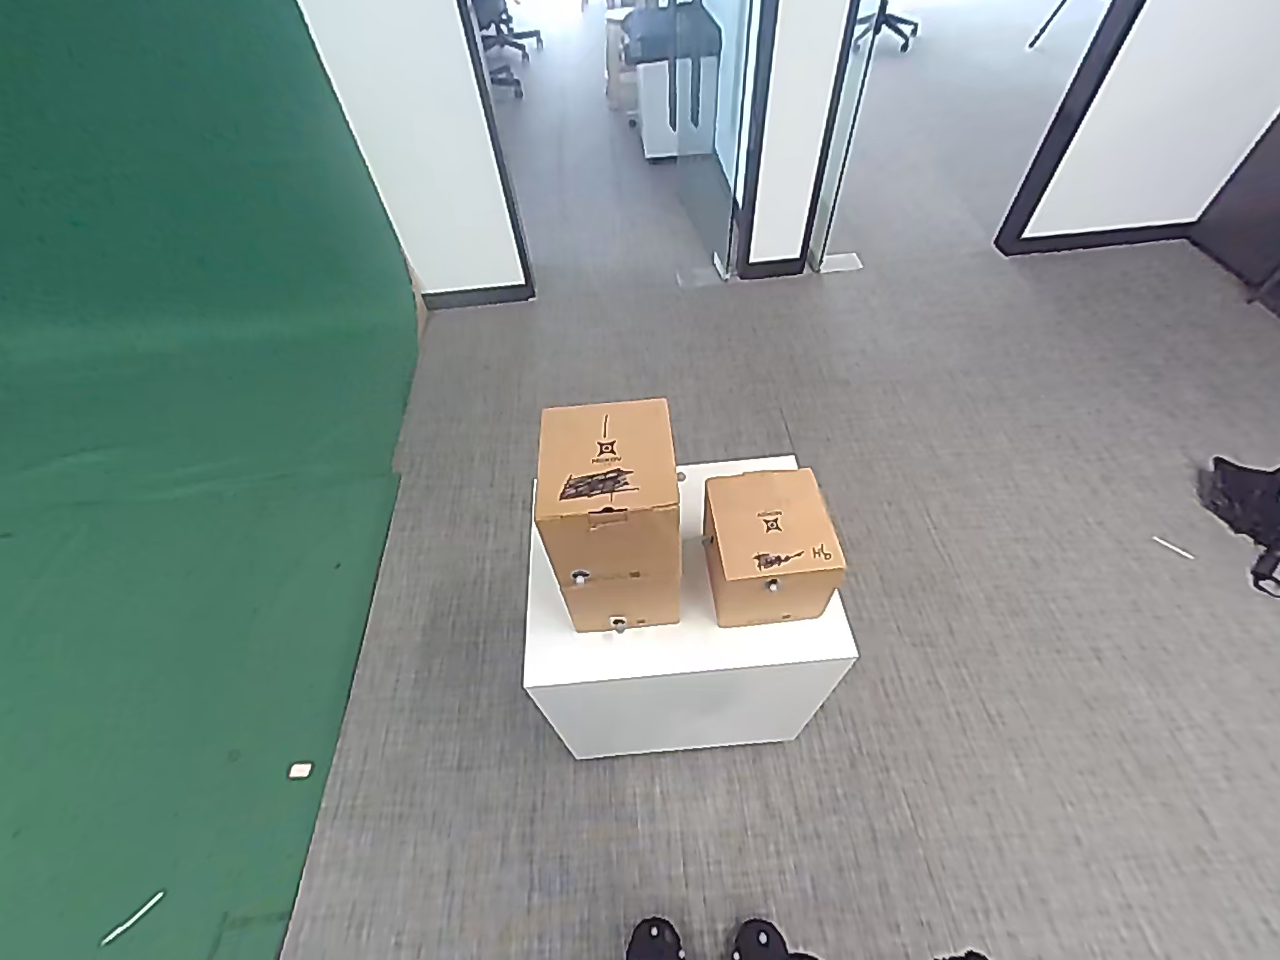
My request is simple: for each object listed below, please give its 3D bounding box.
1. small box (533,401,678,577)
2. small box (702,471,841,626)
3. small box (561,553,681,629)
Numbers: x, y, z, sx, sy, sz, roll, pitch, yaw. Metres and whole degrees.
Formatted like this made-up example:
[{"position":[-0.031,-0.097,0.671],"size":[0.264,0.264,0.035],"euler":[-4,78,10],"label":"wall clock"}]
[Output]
[{"position":[-0.038,0.019,0.724],"size":[0.168,0.176,0.179],"euler":[-4,51,1],"label":"small box"},{"position":[0.190,0.108,0.844],"size":[0.168,0.176,0.179],"euler":[-5,51,0],"label":"small box"},{"position":[-0.030,0.110,0.840],"size":[0.168,0.176,0.179],"euler":[-7,53,-1],"label":"small box"}]
